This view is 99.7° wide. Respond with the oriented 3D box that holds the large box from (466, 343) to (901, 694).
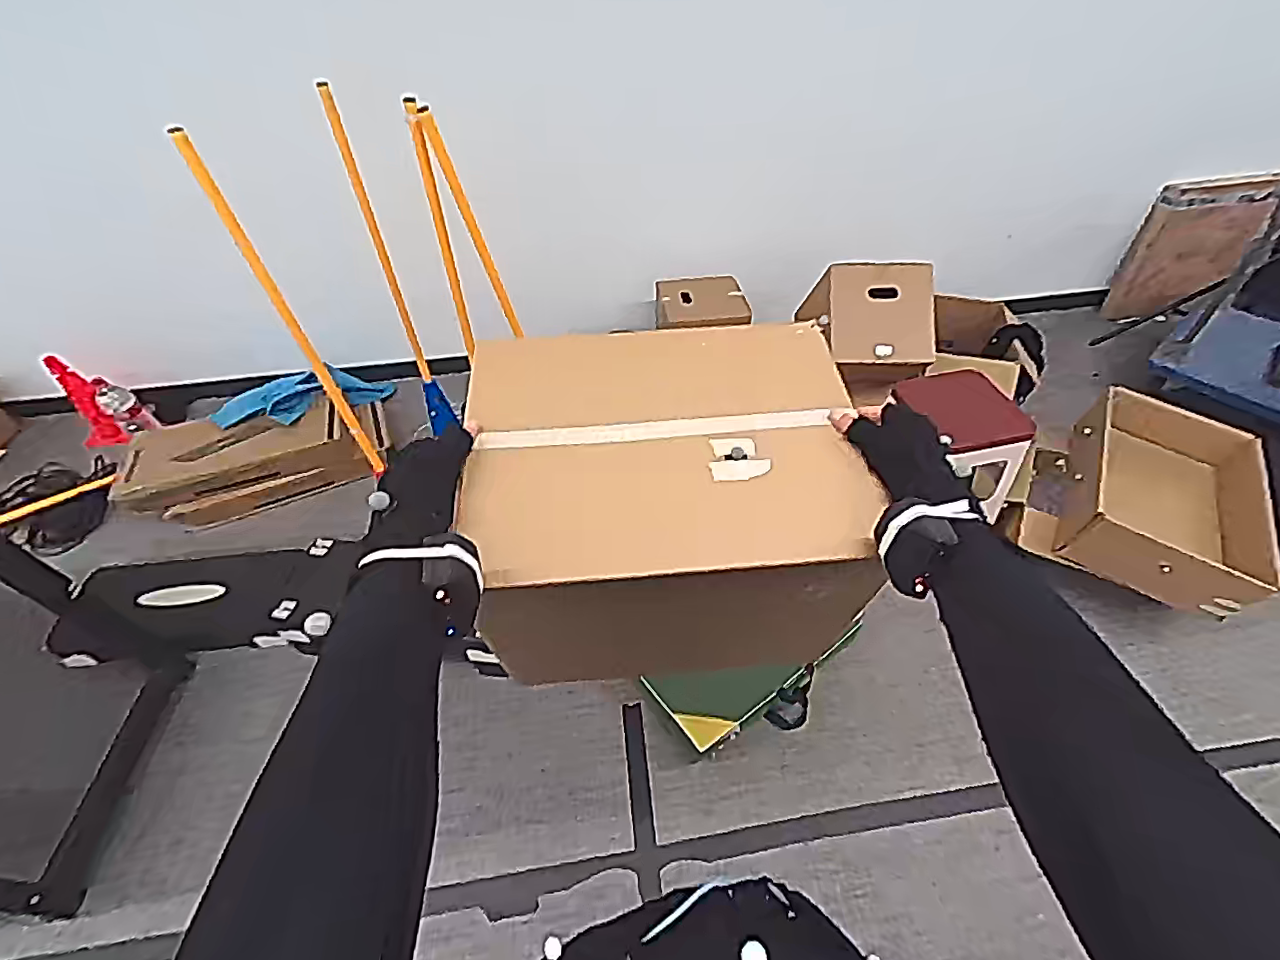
[{"bbox_3d":[0.027,0.056,0.687,0.408,0.320,0.320,-4,55,-3],"label":"large box"}]
